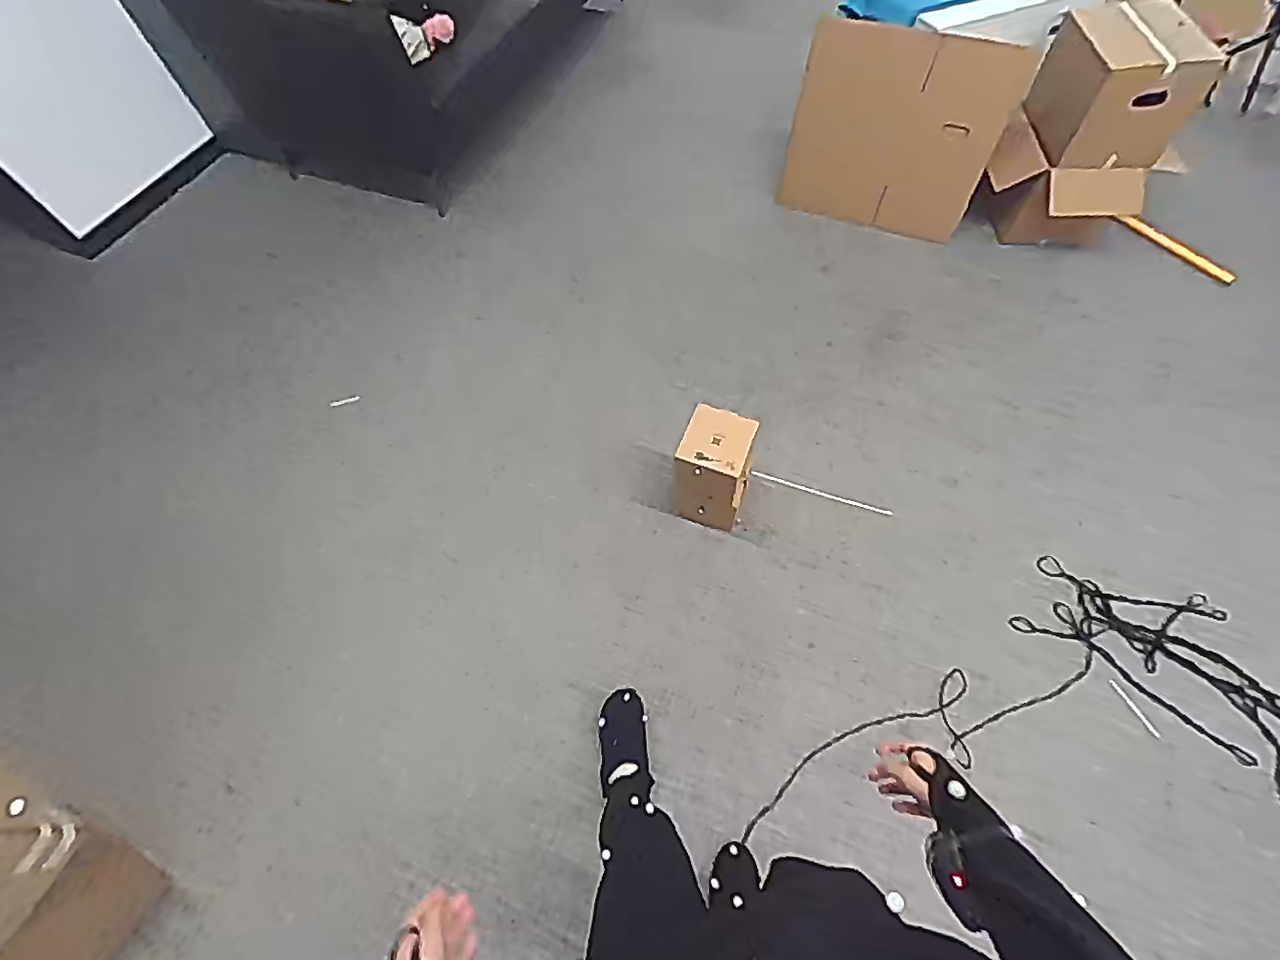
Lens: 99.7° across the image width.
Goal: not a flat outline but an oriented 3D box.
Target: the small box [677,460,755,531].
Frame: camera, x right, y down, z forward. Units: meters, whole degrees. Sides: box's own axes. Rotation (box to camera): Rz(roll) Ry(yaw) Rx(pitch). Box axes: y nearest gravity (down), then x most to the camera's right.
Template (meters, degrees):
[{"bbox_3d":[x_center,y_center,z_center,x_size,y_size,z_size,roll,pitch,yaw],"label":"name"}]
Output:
[{"bbox_3d":[0.213,0.027,1.538,0.179,0.176,0.168,18,62,14],"label":"small box"}]

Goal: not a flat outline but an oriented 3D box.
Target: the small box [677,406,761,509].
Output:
[{"bbox_3d":[0.198,-0.055,1.397,0.168,0.176,0.179,19,62,14],"label":"small box"}]
